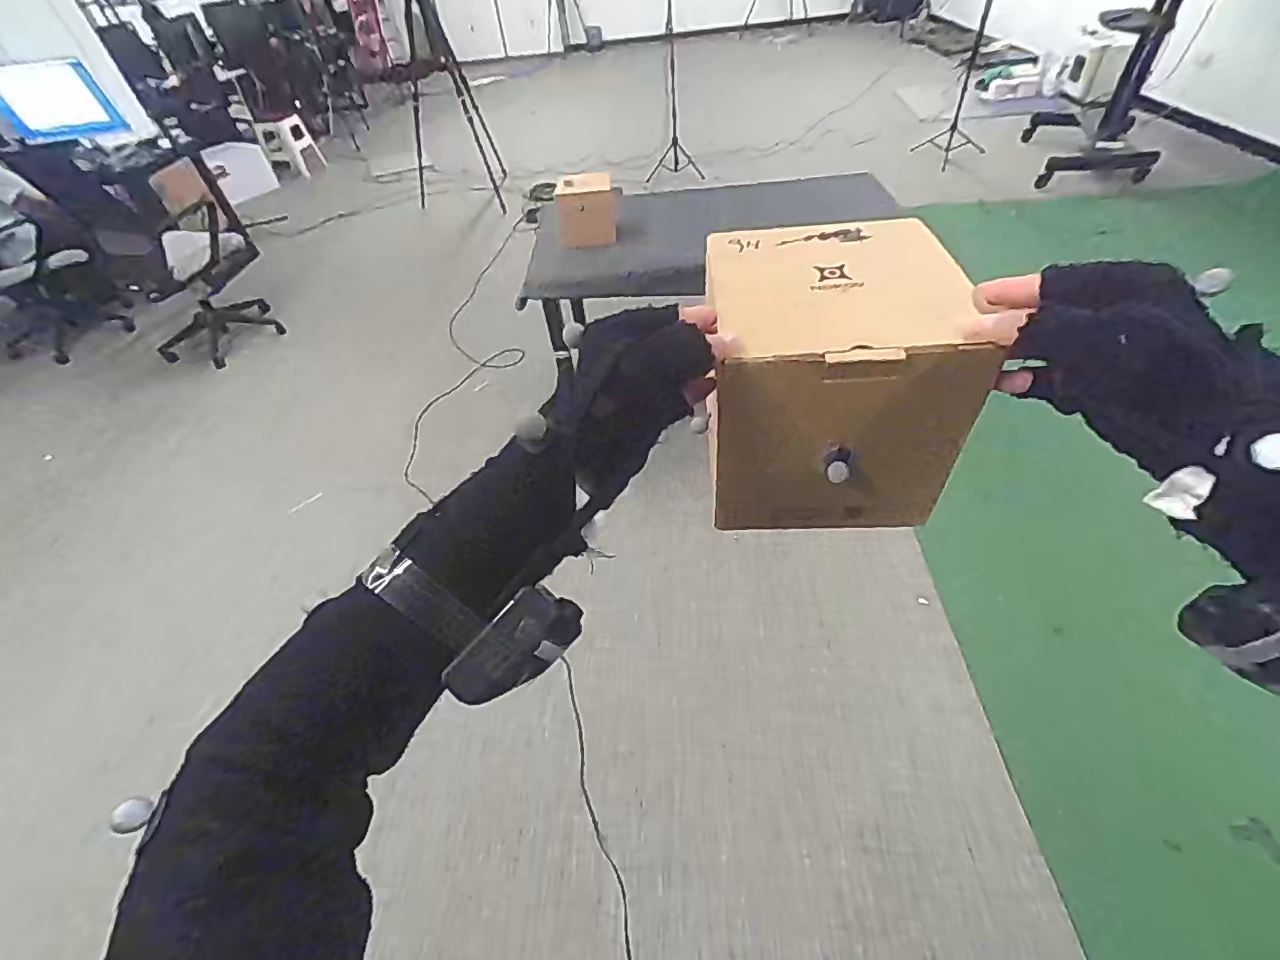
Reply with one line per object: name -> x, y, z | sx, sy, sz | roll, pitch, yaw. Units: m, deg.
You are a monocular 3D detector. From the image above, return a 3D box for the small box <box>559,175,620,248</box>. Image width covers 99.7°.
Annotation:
small box -> -0.161, -0.876, 1.774 | 0.179, 0.176, 0.168 | -5, 46, 1

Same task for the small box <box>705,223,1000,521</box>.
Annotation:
small box -> 0.140, -0.079, 0.432 | 0.168, 0.176, 0.179 | -2, 48, 5
